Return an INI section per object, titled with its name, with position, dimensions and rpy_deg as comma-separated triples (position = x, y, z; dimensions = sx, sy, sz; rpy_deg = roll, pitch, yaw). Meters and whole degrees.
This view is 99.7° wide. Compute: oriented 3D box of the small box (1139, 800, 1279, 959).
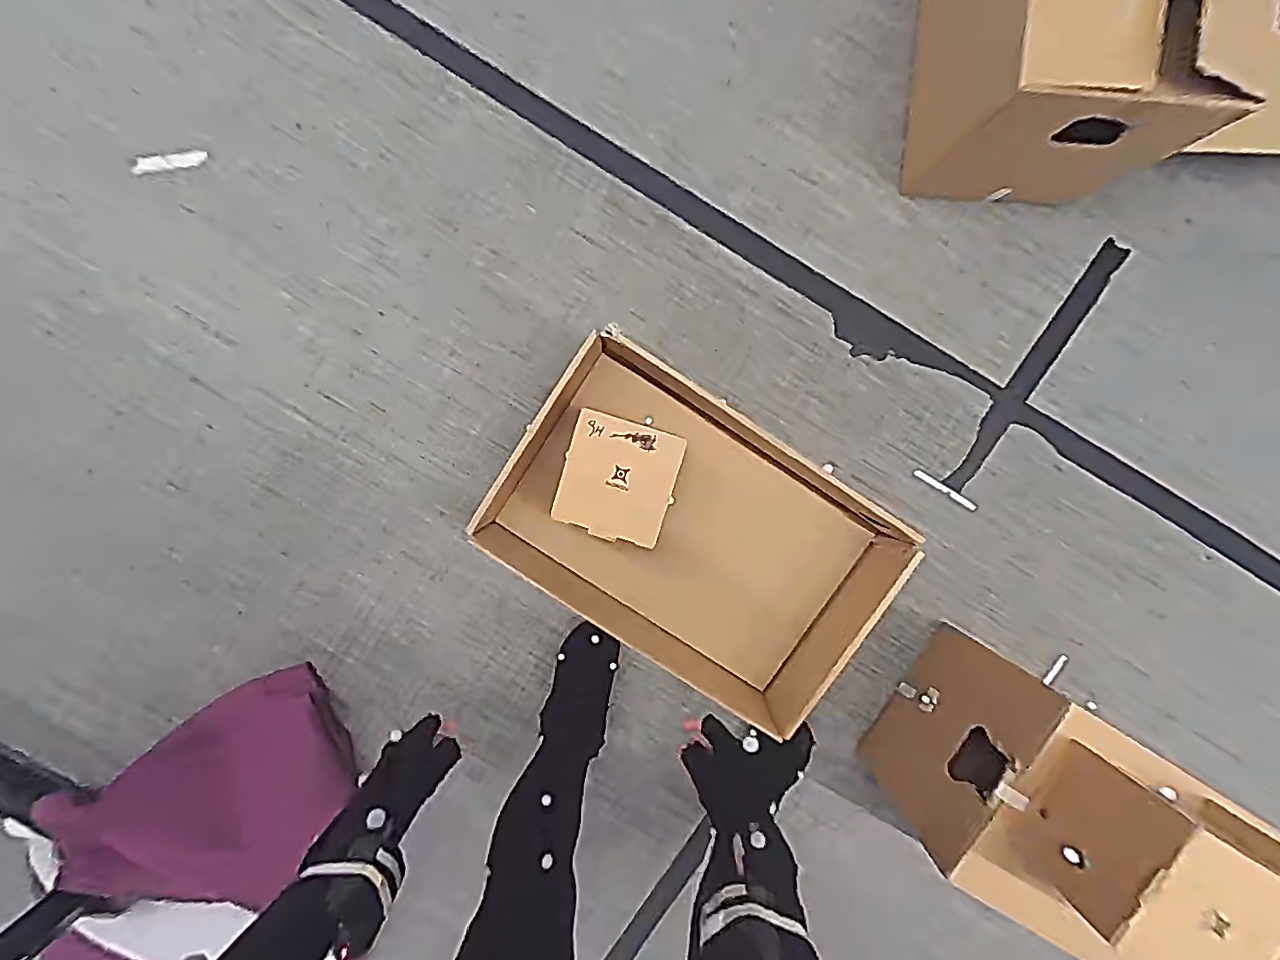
[small box]
position = 0.801, 0.562, 0.682
dimensions = 0.168, 0.176, 0.179
rpy_deg = 36, 92, -3

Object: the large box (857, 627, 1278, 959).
[large box]
position = 0.669, 0.517, 0.921
dimensions = 0.408, 0.320, 0.320
rpy_deg = 31, 95, -4
